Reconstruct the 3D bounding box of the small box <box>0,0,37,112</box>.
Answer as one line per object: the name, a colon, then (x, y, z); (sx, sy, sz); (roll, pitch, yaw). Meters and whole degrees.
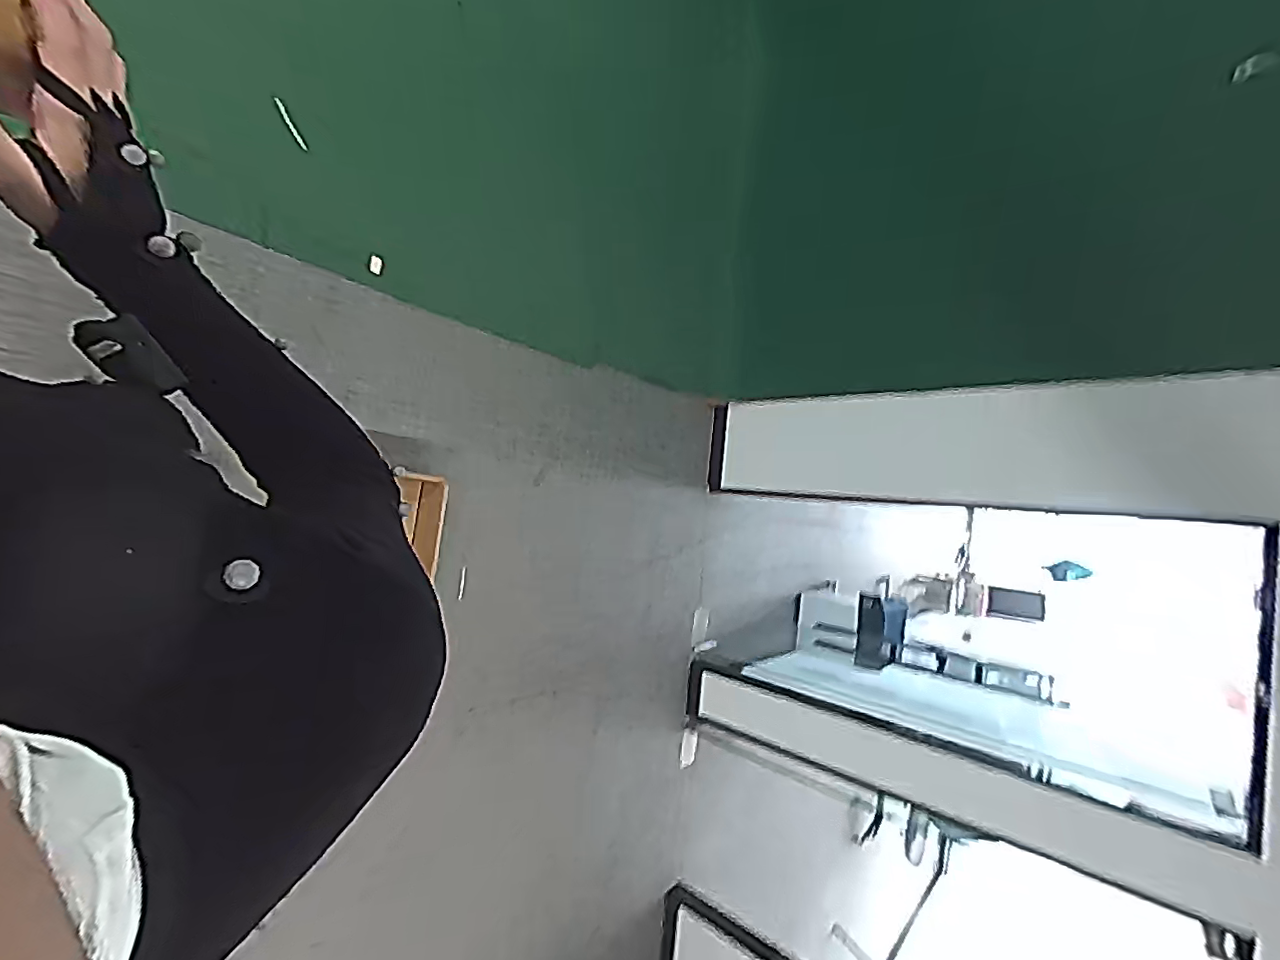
small box: (-0.443, -0.336, 0.272); (0.168, 0.176, 0.179); (-7, 91, -43)
